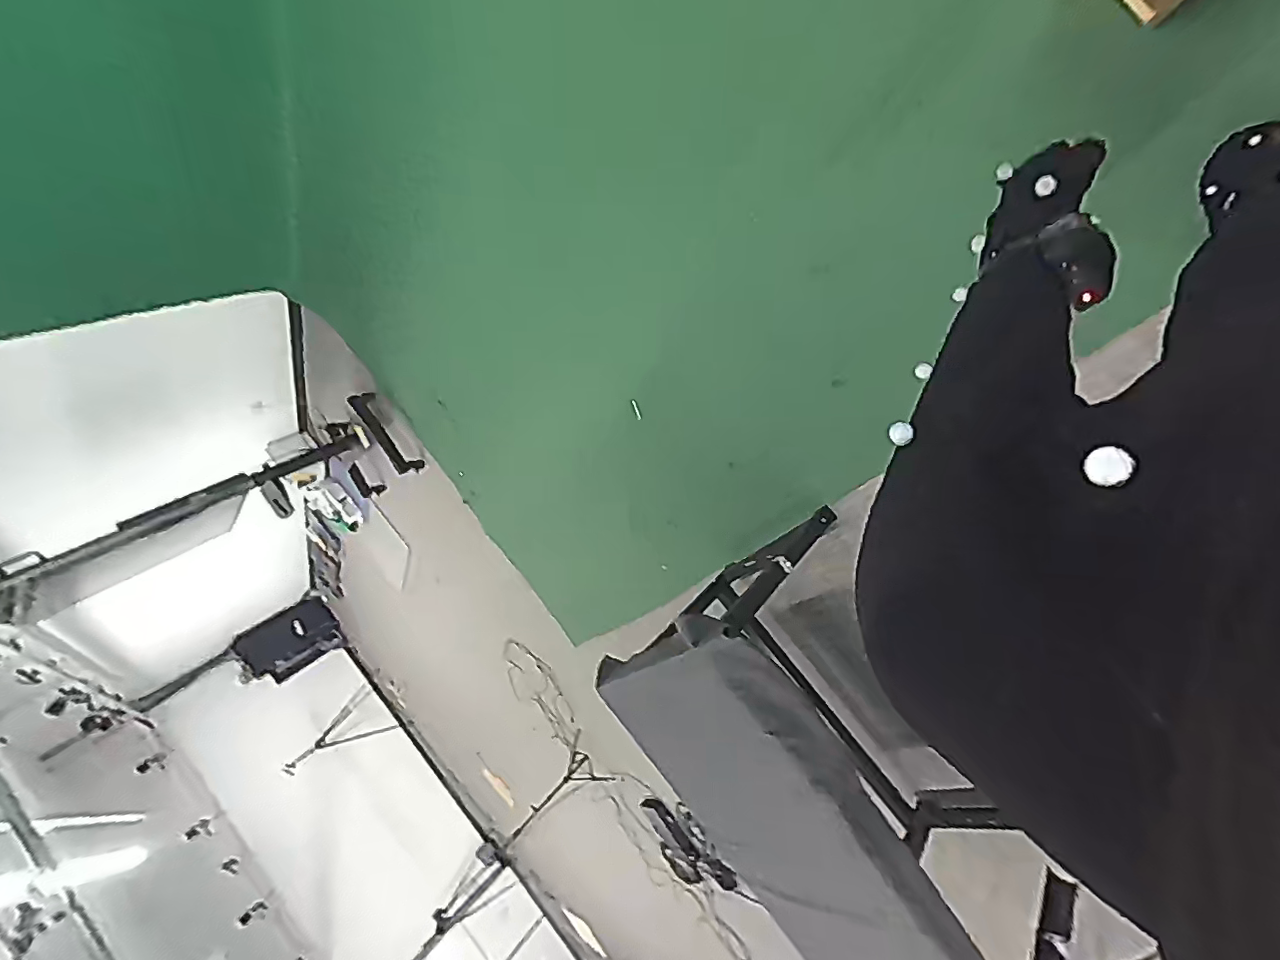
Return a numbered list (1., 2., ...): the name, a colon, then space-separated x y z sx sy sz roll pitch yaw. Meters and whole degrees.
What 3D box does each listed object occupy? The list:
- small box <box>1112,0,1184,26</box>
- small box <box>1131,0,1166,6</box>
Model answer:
1. small box: 0.761 -0.795 0.775 0.179 0.176 0.168 53 143 2
2. small box: 0.670 -0.739 0.676 0.179 0.176 0.168 52 141 5
